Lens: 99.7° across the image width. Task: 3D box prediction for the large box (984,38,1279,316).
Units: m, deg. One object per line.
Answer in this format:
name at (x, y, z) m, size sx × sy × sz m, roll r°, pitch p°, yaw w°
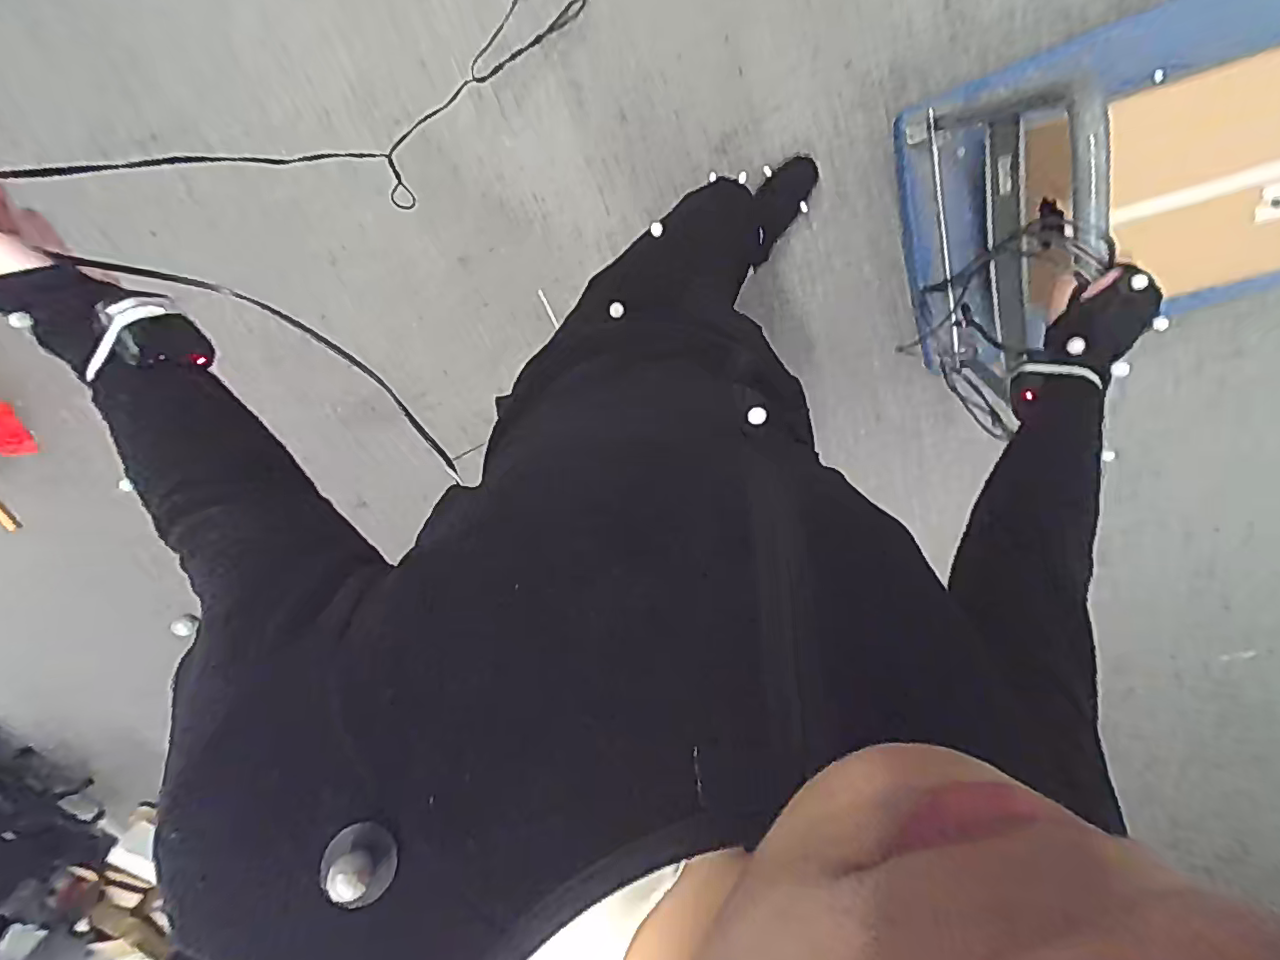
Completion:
large box at (0.888, -0.519, 0.943) m, size 0.408 × 0.320 × 0.320 m, roll -13°, pitch 116°, yaw 14°
